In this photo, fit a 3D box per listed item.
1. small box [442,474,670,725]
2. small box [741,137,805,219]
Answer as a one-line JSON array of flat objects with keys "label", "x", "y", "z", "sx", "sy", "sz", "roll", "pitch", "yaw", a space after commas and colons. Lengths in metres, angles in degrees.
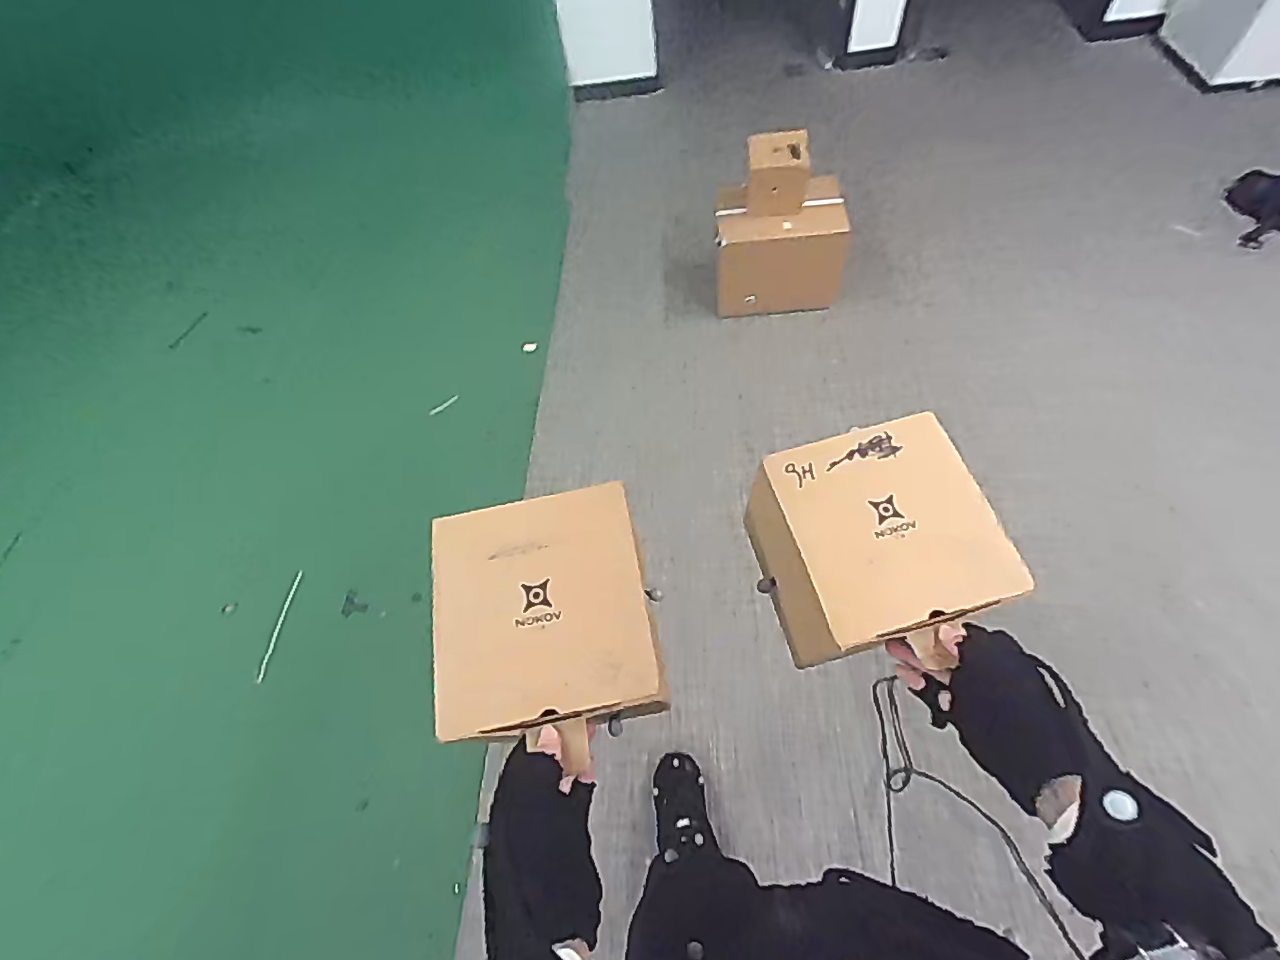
[{"label": "small box", "x": -0.069, "y": 0.120, "z": 0.500, "sx": 0.168, "sy": 0.176, "sz": 0.179, "roll": -11, "pitch": 63, "yaw": 0}, {"label": "small box", "x": 0.418, "y": -0.953, "z": 1.714, "sx": 0.179, "sy": 0.176, "sz": 0.168, "roll": 3, "pitch": 63, "yaw": 8}]
